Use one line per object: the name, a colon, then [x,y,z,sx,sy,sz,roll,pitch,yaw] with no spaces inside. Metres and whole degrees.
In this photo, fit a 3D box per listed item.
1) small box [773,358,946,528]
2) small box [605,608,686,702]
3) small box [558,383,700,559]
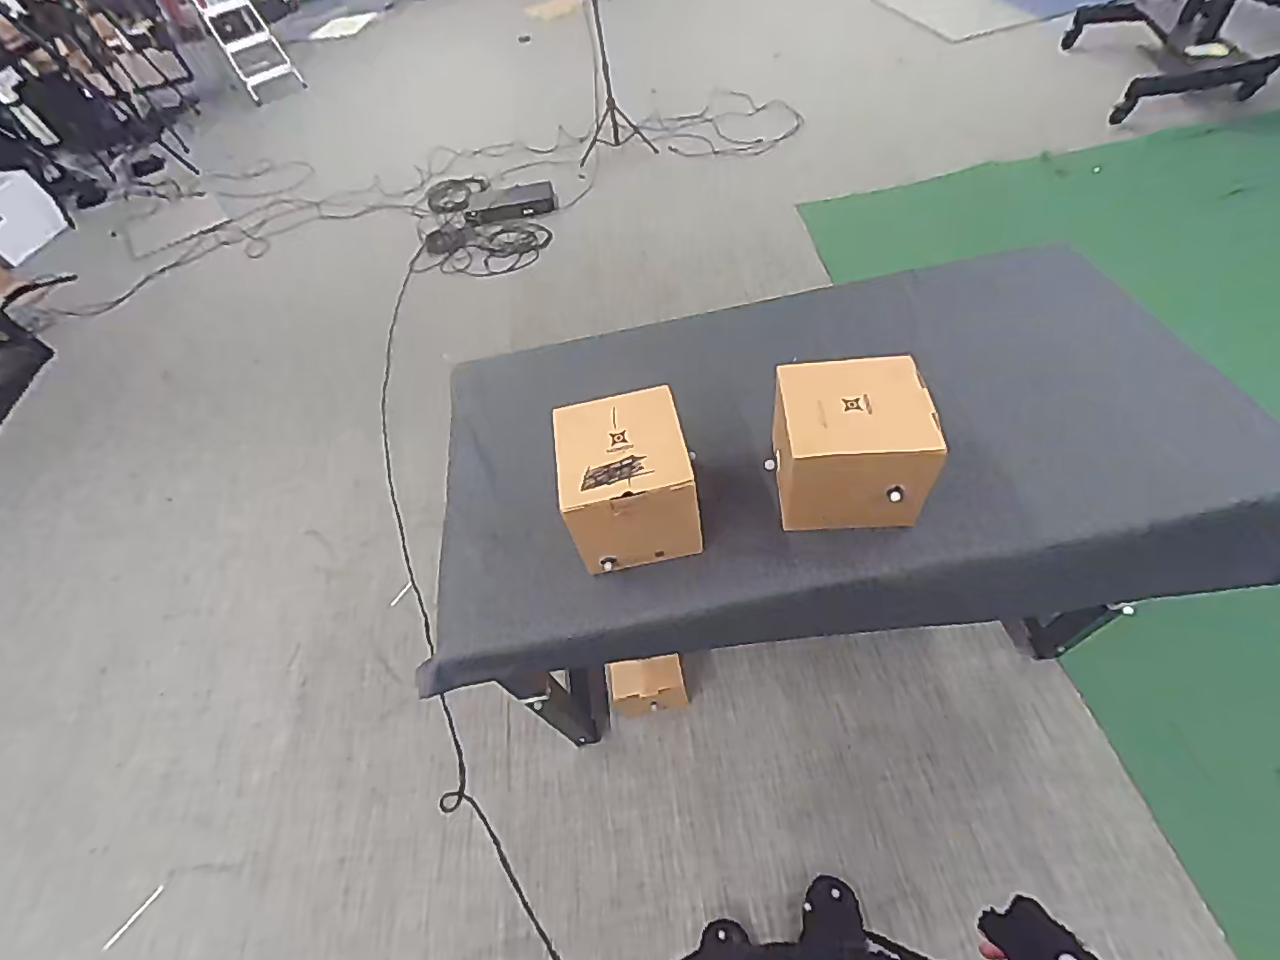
small box: [0.283,-0.045,0.744,0.179,0.176,0.168,-3,53,8]
small box: [0.016,0.441,1.343,0.168,0.176,0.179,-11,54,2]
small box: [-0.012,-0.004,0.759,0.168,0.176,0.179,-11,52,1]
